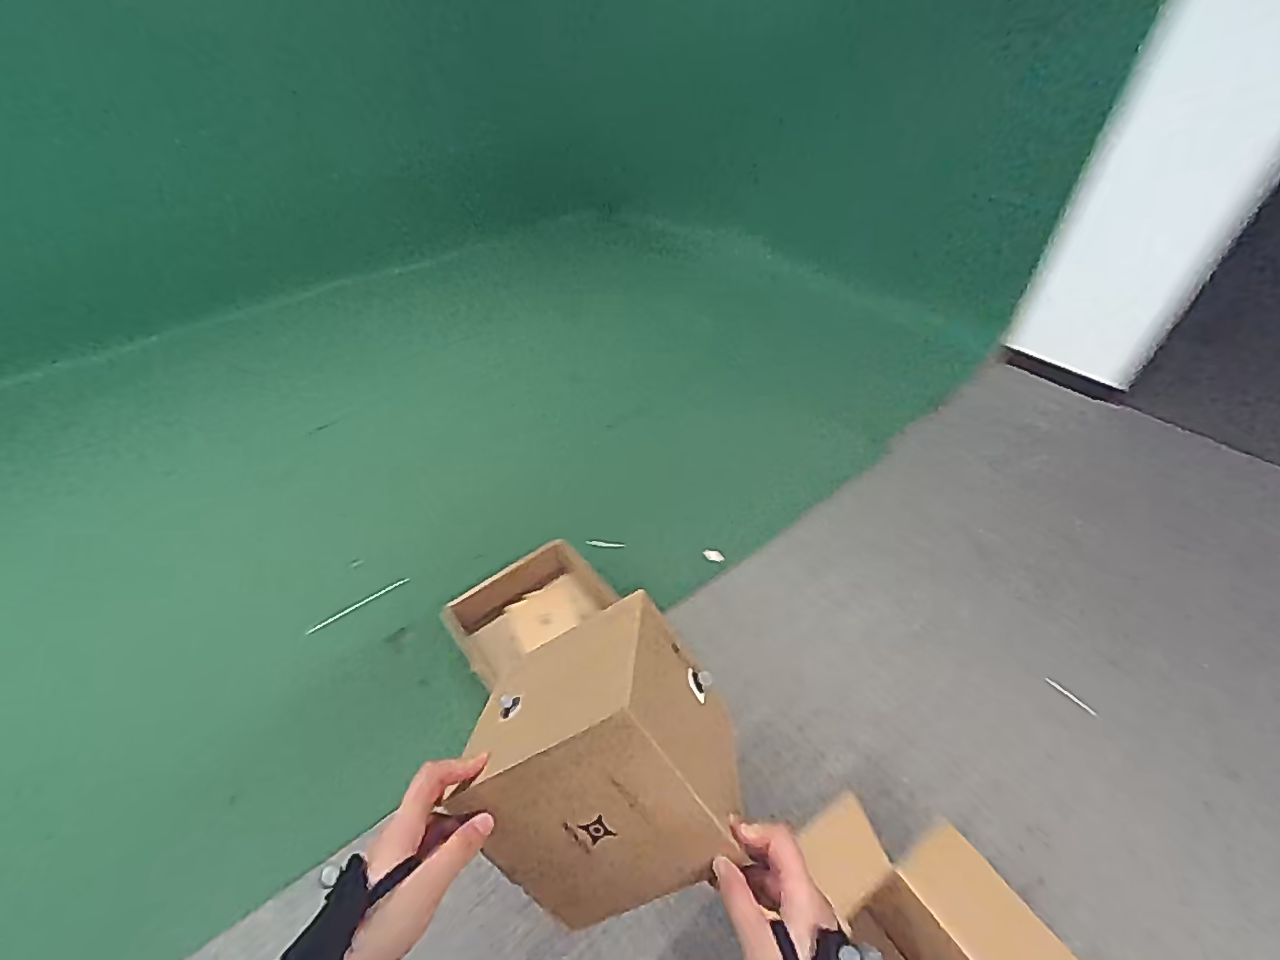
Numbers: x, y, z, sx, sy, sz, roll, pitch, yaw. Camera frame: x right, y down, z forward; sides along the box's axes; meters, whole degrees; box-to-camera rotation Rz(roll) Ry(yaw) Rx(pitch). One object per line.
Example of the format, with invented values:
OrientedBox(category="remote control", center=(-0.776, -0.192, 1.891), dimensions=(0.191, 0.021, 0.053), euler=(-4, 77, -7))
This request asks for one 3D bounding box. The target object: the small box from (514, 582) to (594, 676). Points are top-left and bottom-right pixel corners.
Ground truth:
OrientedBox(category="small box", center=(-0.238, 0.425, 1.521), dimensions=(0.168, 0.176, 0.179), euler=(-20, 48, -17))
